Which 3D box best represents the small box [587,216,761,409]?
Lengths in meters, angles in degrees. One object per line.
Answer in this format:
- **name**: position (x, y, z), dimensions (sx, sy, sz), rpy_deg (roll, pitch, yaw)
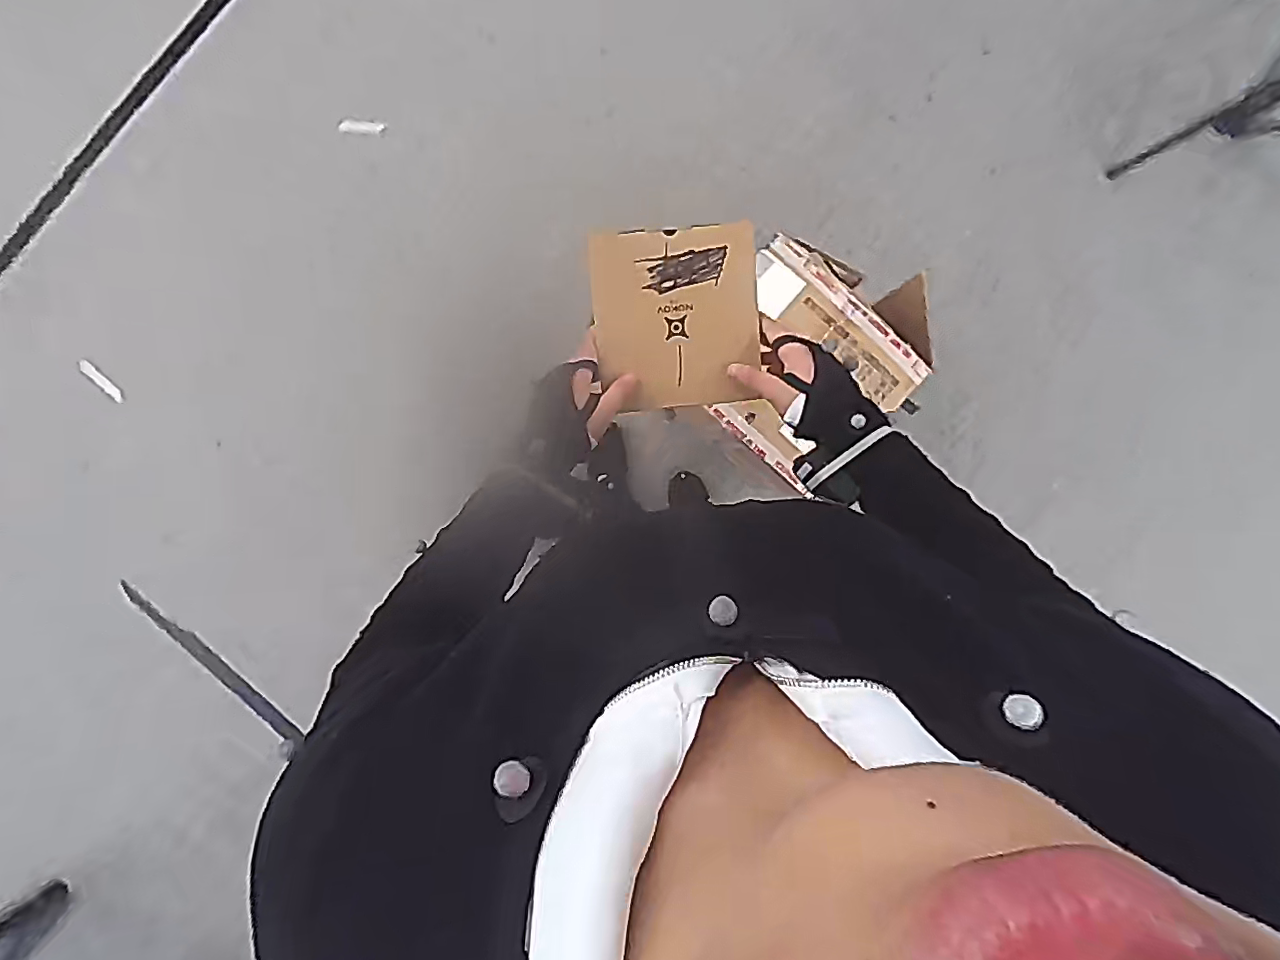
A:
- **small box**: position (0.033, -0.176, 0.619), dimensions (0.168, 0.176, 0.179), rpy_deg (-6, 98, 0)
